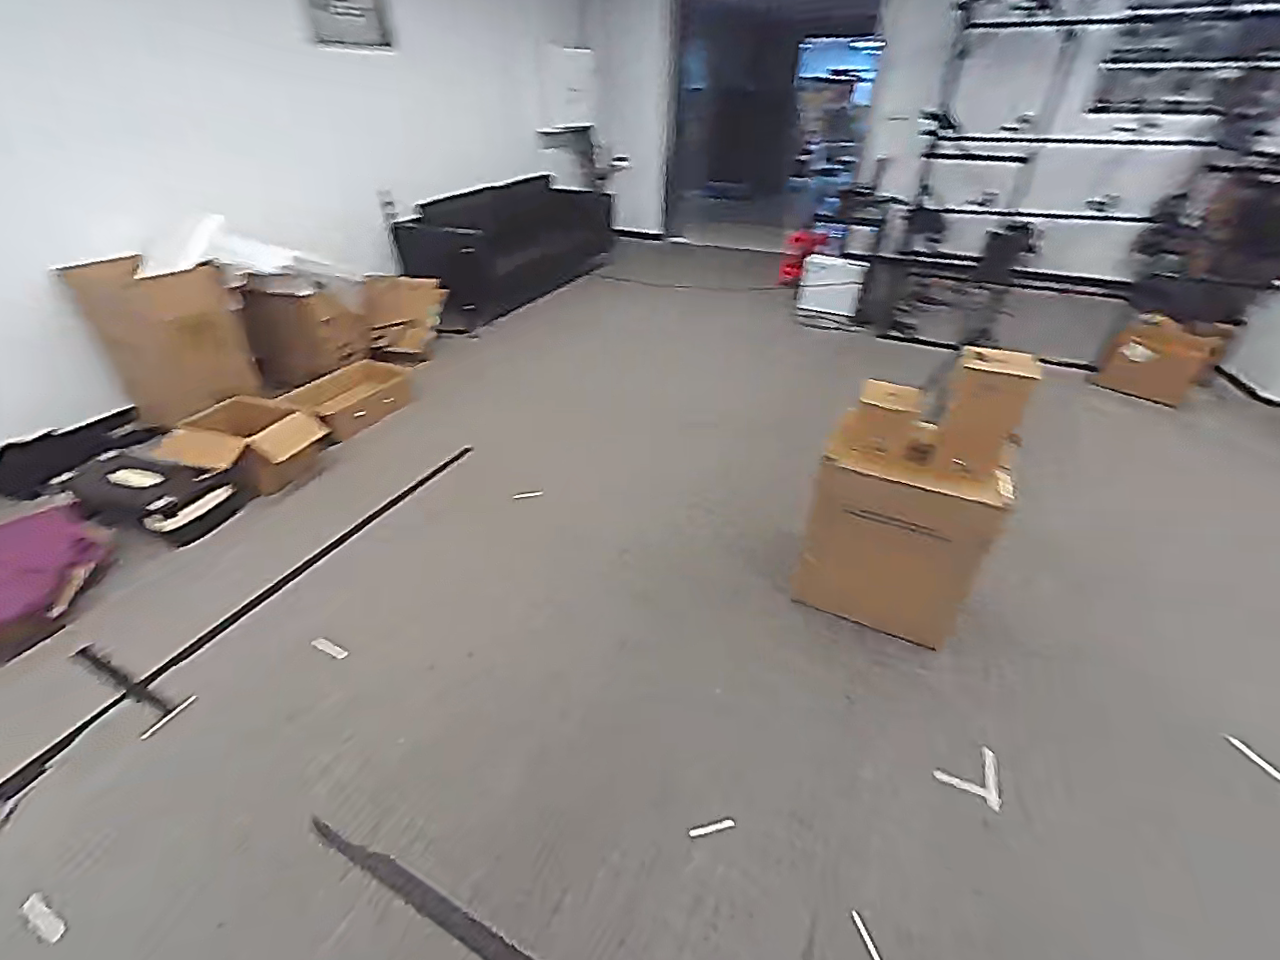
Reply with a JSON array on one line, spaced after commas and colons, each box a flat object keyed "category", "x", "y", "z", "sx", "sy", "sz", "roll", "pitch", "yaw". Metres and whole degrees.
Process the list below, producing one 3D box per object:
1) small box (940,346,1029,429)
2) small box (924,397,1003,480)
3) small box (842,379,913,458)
[{"category": "small box", "x": 0.962, "y": -0.261, "z": 1.523, "sx": 0.179, "sy": 0.176, "sz": 0.168, "roll": 14, "pitch": 39, "yaw": 22}, {"category": "small box", "x": 0.965, "y": -0.127, "z": 1.619, "sx": 0.168, "sy": 0.176, "sz": 0.179, "roll": 14, "pitch": 39, "yaw": 23}, {"category": "small box", "x": 0.752, "y": -0.197, "z": 1.716, "sx": 0.168, "sy": 0.176, "sz": 0.179, "roll": 15, "pitch": 39, "yaw": 20}]
